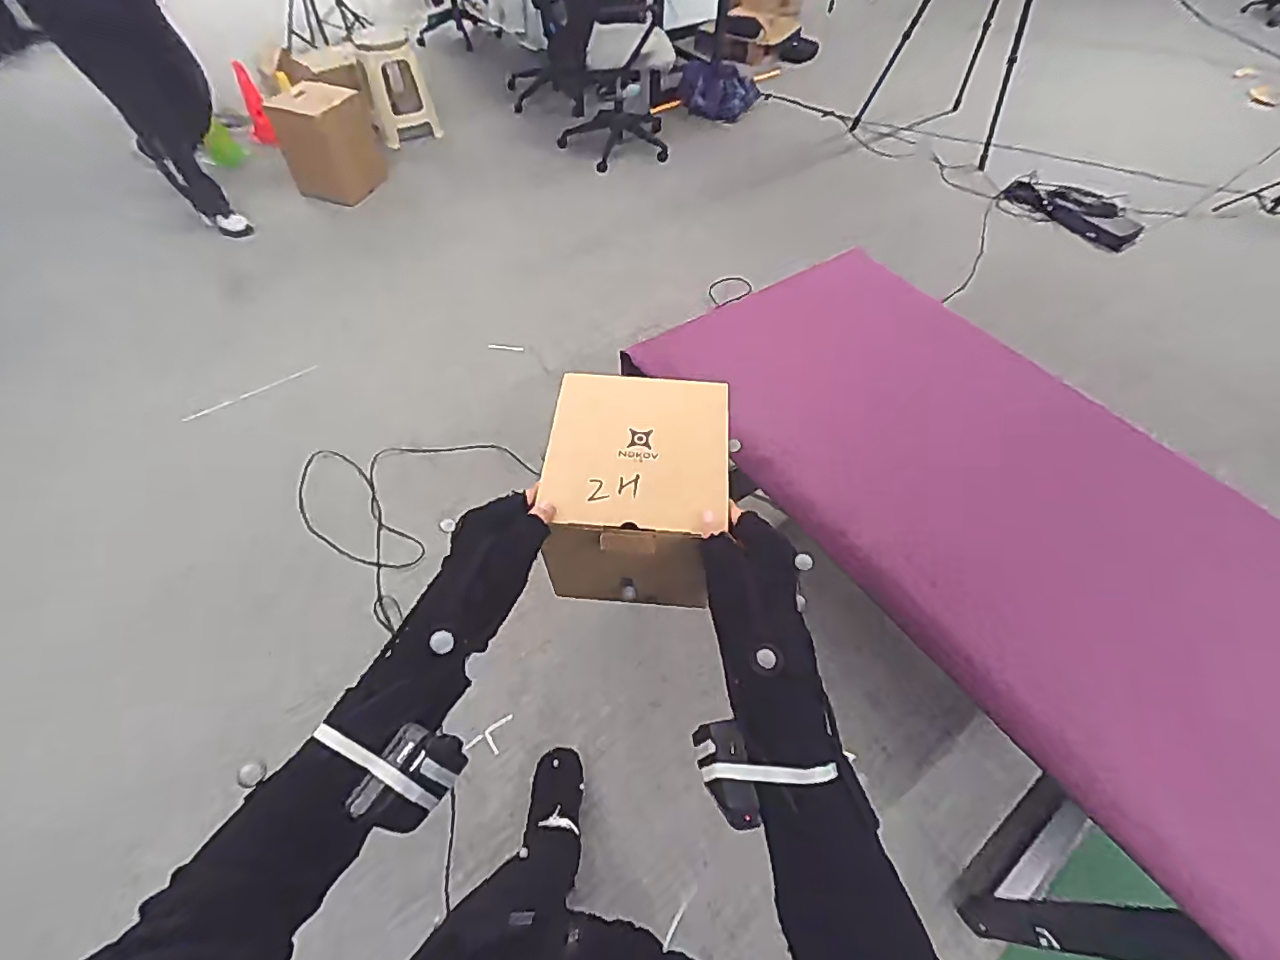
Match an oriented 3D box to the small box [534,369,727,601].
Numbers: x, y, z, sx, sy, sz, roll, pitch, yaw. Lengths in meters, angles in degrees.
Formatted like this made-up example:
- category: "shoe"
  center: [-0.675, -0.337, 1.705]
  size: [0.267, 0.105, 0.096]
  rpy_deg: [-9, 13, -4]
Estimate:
- category: "small box"
  center: [-0.003, 0.009, 0.569]
  size: [0.168, 0.176, 0.179]
  rpy_deg: [4, 57, 3]
